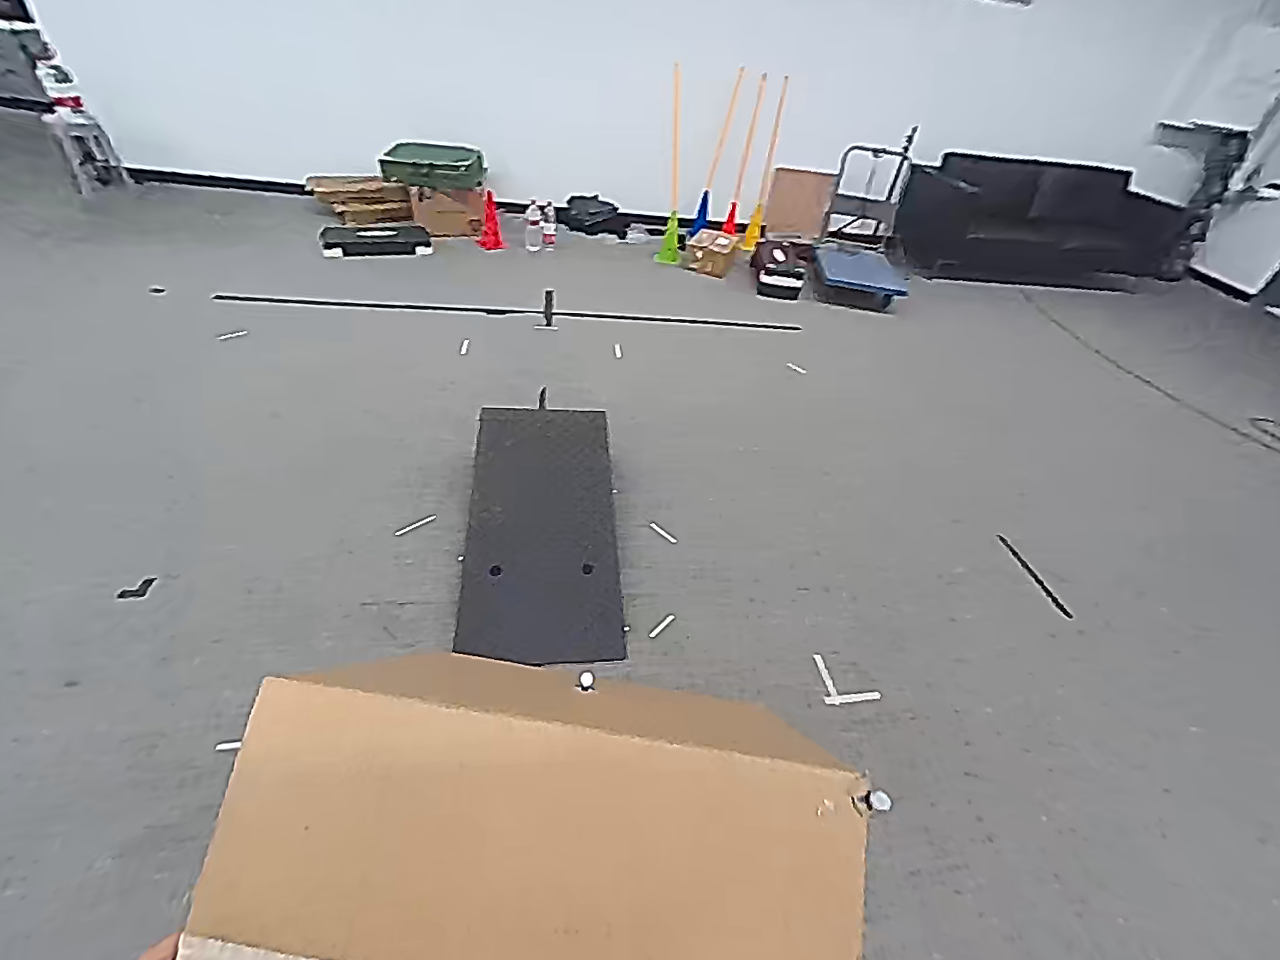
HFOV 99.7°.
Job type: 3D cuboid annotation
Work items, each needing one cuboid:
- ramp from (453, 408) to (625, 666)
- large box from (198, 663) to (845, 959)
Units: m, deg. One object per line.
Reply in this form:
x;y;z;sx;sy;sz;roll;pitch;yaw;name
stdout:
-0.327;0.125;1.836;0.509;0.206;0.991;0;42;-12;ramp
-0.079;0.351;0.475;0.408;0.320;0.320;7;77;1;large box
